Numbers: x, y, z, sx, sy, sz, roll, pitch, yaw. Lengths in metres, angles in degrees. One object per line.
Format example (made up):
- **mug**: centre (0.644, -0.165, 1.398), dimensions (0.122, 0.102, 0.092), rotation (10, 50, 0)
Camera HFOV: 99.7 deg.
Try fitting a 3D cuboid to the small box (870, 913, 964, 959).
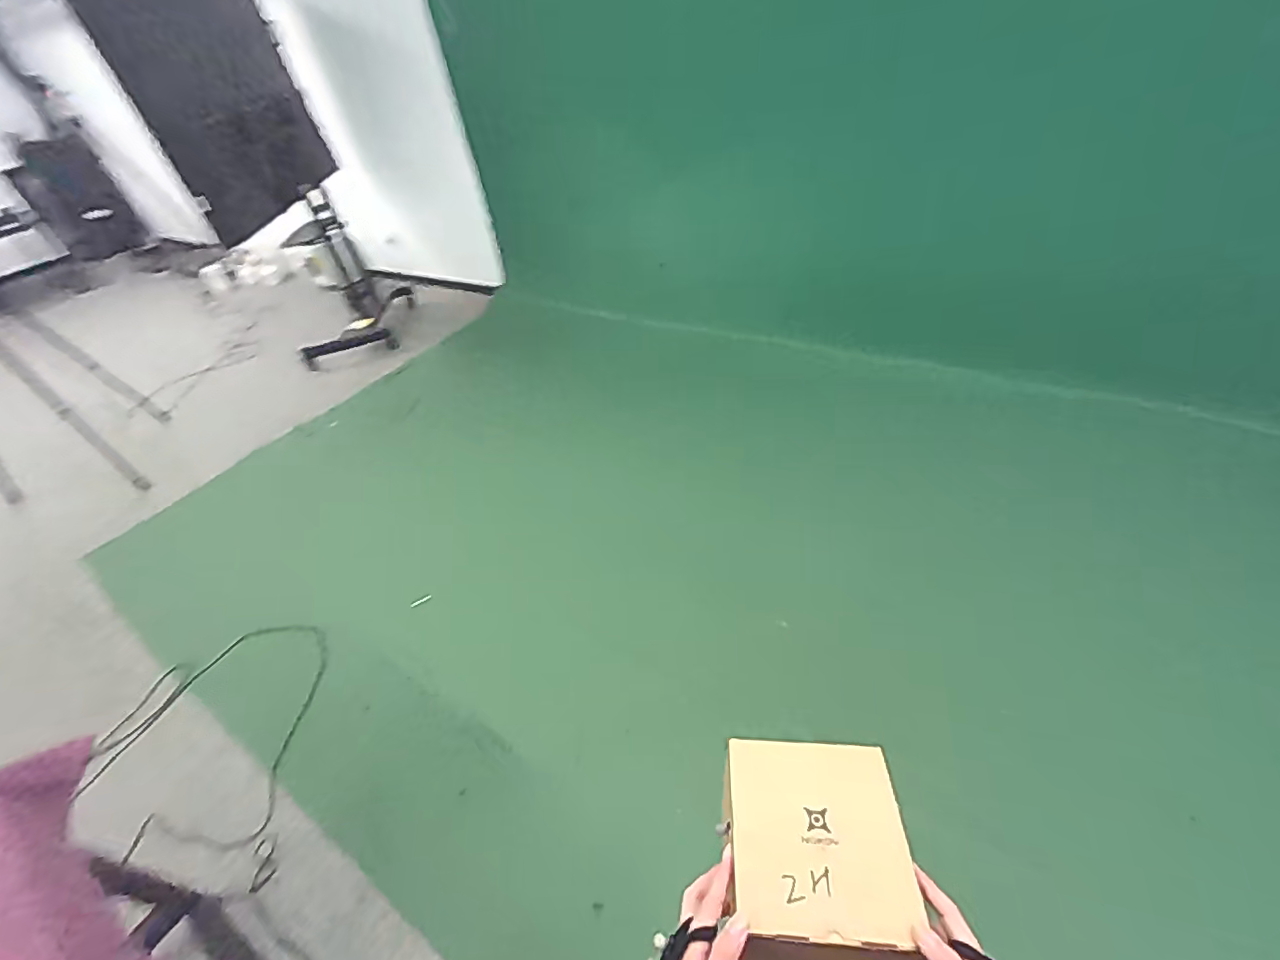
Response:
- **small box**: centre (0.560, 1.042, 1.101), dimensions (0.168, 0.176, 0.179), rotation (22, 51, 30)
